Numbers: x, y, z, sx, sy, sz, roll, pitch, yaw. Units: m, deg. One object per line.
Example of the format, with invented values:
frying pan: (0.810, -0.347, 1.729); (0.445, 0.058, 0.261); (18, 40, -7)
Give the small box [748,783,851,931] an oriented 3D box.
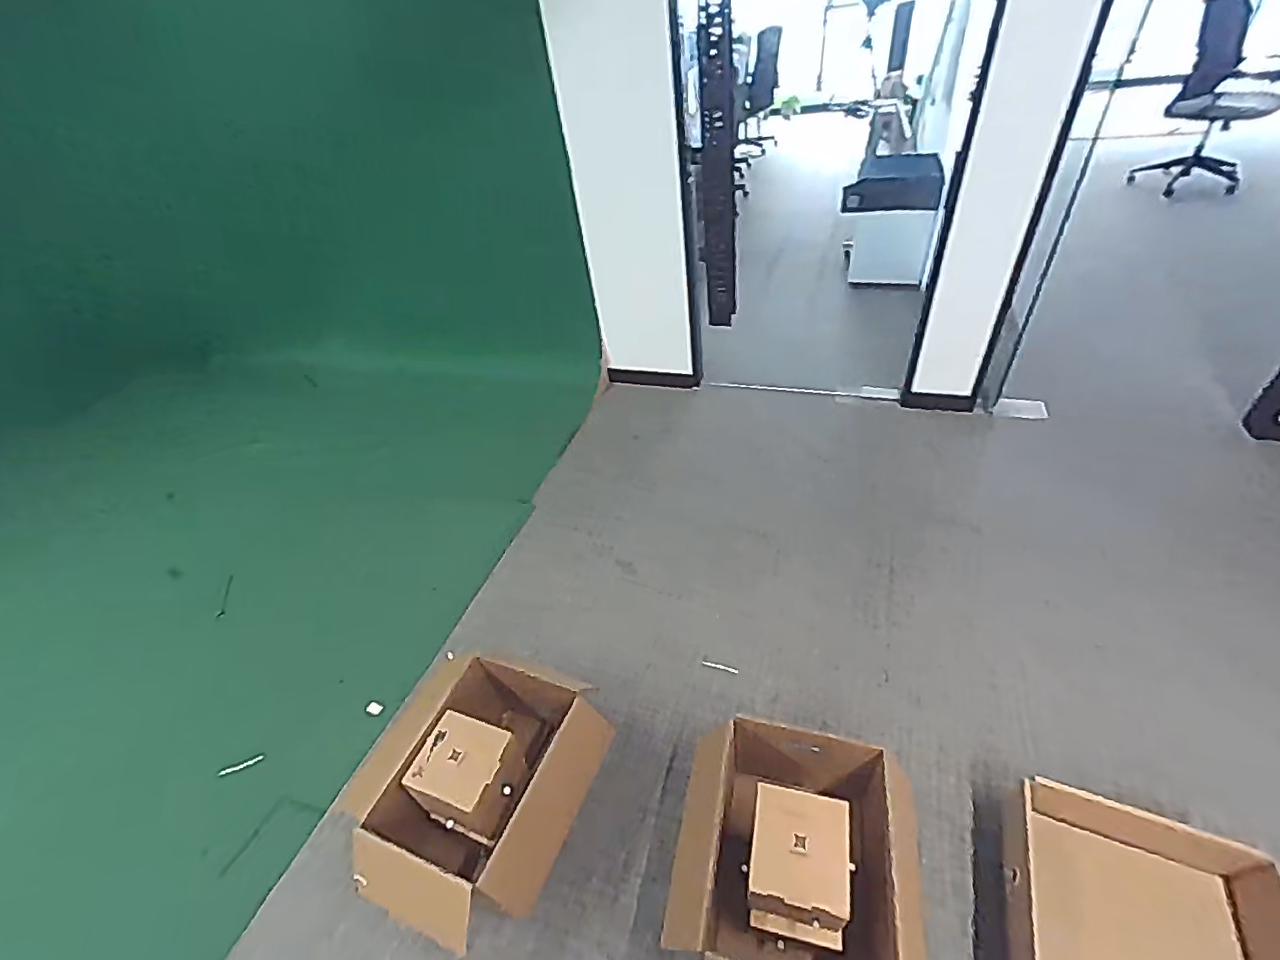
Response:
small box: (0.294, 0.702, 1.005); (0.168, 0.176, 0.179); (6, 45, 15)
